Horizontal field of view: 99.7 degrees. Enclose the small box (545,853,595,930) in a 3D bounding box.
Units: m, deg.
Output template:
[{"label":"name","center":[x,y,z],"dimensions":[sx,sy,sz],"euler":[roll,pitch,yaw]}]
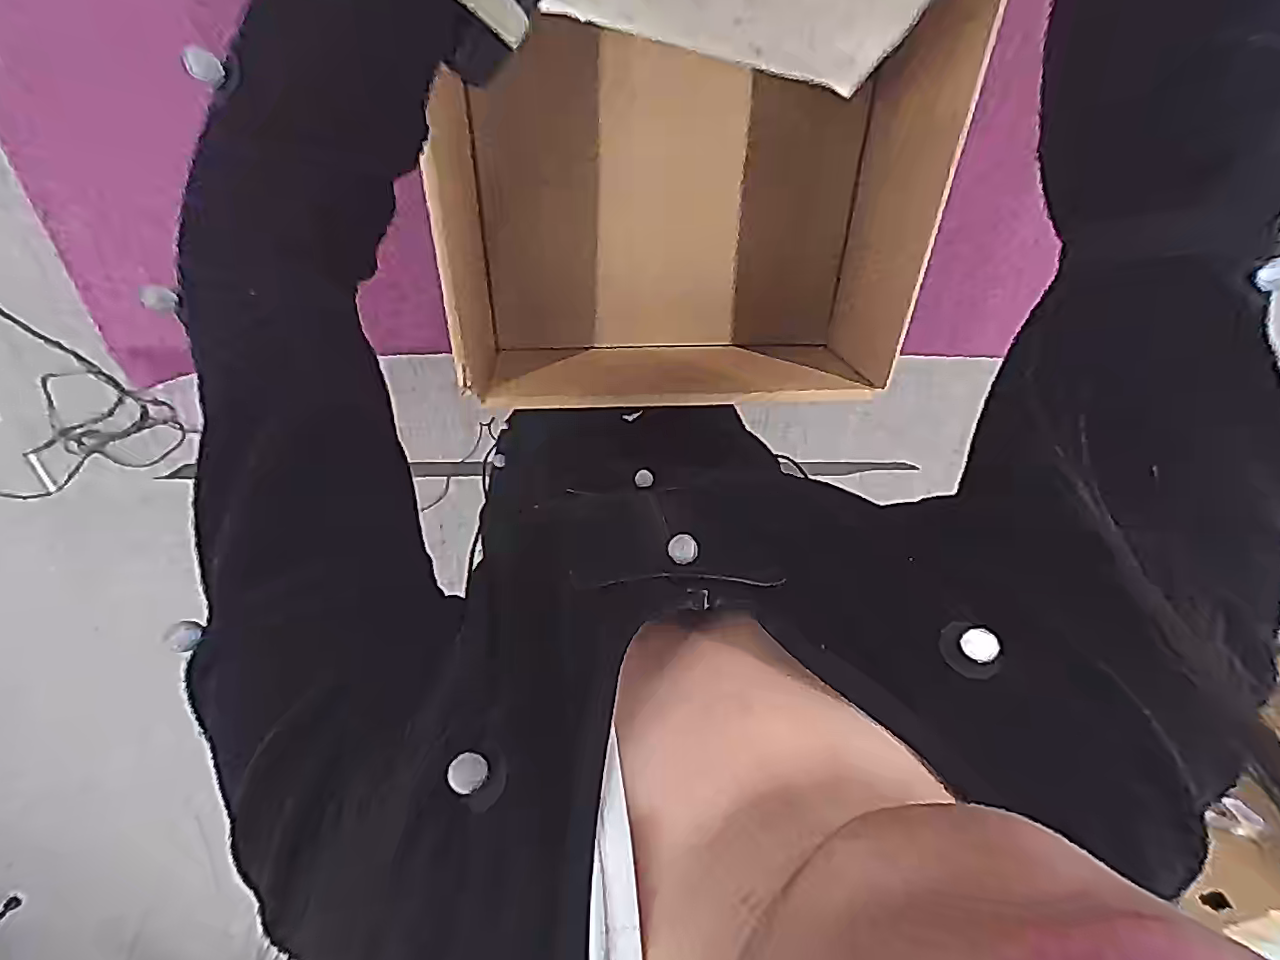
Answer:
[{"label":"small box","center":[-0.248,1.436,1.899],"dimensions":[0.168,0.176,0.179],"euler":[1,122,-7]}]
